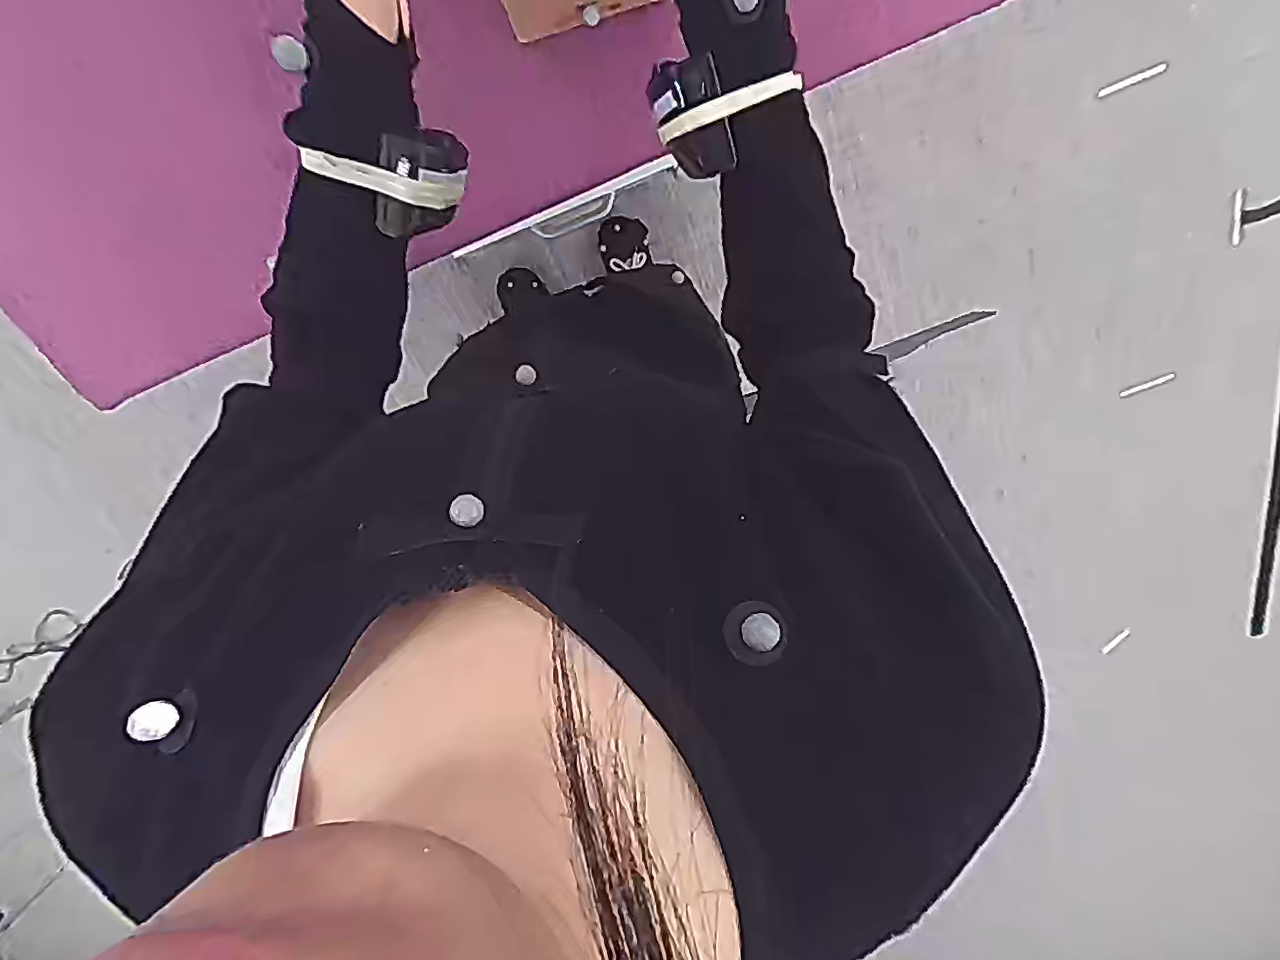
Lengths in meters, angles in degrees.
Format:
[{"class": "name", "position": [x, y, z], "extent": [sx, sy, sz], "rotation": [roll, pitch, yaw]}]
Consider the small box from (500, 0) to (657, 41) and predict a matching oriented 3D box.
[{"class": "small box", "position": [-0.067, -0.520, 0.455], "extent": [0.168, 0.176, 0.179], "rotation": [-15, 115, 3]}]
